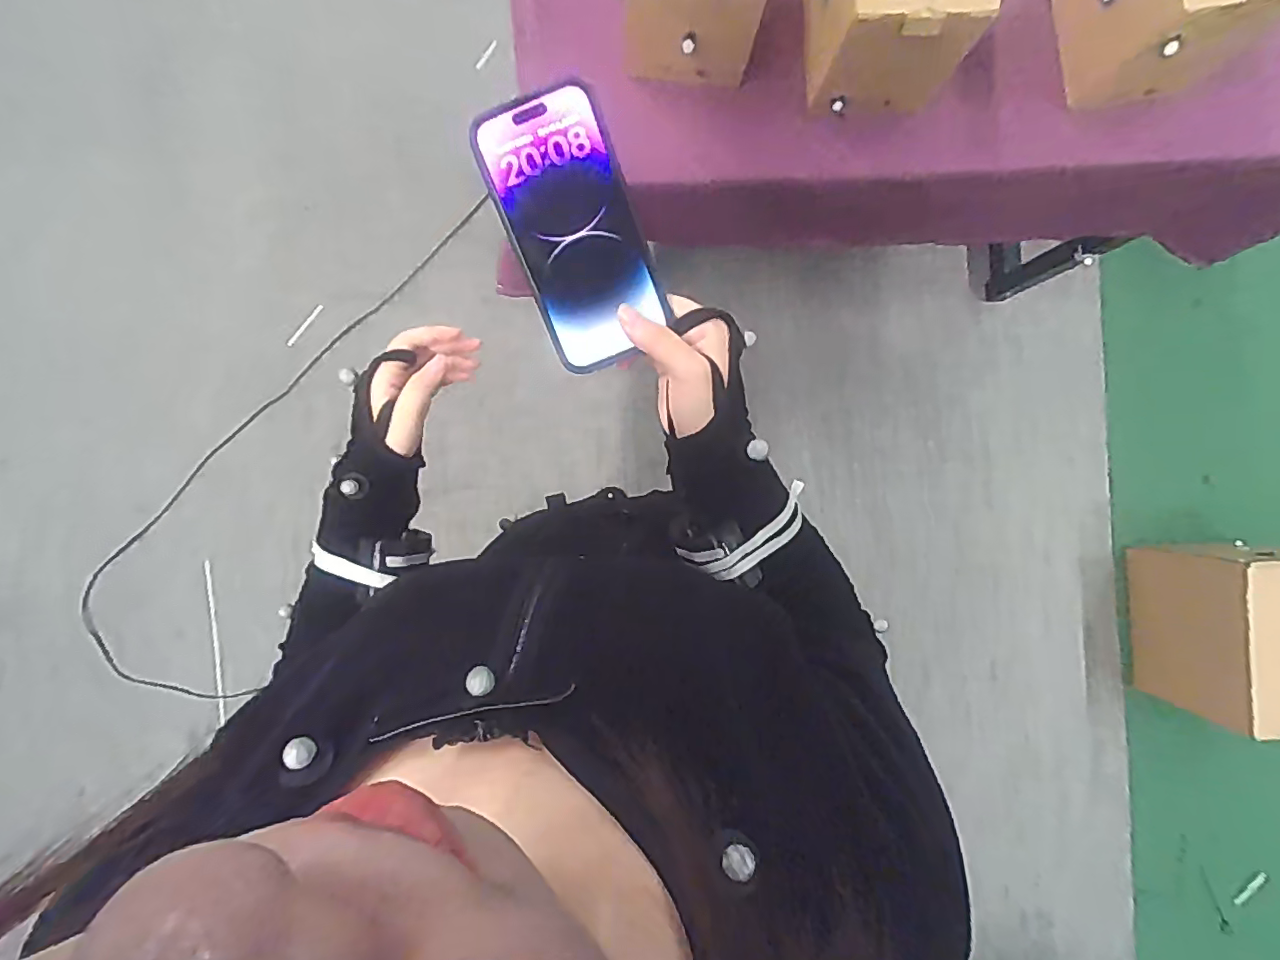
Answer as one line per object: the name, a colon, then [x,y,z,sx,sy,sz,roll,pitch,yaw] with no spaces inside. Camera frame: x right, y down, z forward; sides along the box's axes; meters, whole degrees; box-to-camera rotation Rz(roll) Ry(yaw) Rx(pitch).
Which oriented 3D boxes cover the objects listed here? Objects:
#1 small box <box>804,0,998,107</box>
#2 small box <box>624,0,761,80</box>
small box: [0.316,-0.607,0.683,0.168,0.176,0.179,-3,90,-1]
small box: [0.069,-0.647,0.678,0.168,0.176,0.179,5,91,-1]
